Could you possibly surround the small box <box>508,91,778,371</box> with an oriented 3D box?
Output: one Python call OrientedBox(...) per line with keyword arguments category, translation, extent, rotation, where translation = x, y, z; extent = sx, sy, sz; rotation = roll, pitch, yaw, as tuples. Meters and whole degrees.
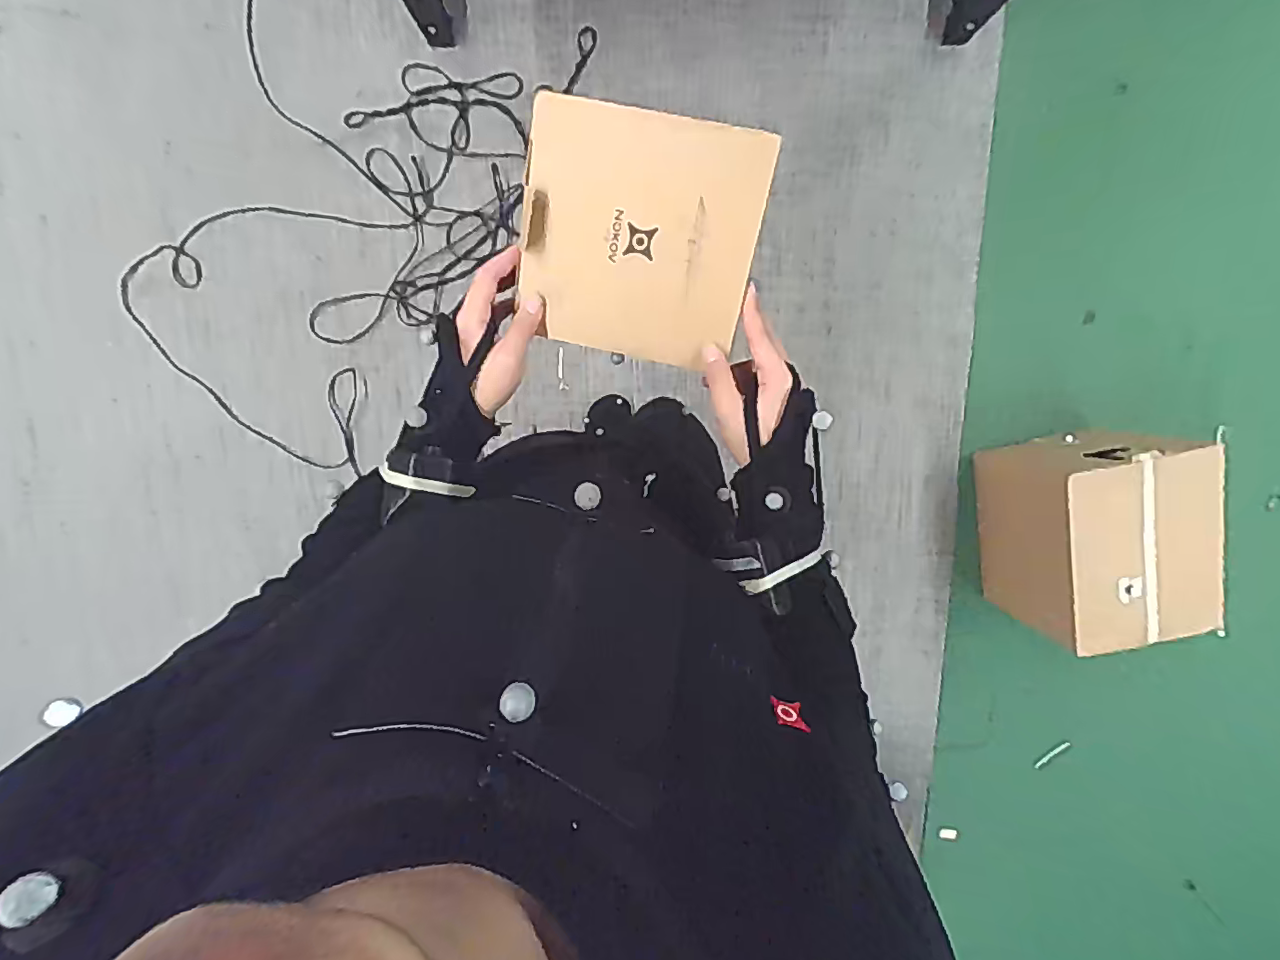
OrientedBox(category="small box", translation=(0.004, -0.199, 0.465), extent=(0.179, 0.176, 0.168), rotation=(11, 111, 3))
